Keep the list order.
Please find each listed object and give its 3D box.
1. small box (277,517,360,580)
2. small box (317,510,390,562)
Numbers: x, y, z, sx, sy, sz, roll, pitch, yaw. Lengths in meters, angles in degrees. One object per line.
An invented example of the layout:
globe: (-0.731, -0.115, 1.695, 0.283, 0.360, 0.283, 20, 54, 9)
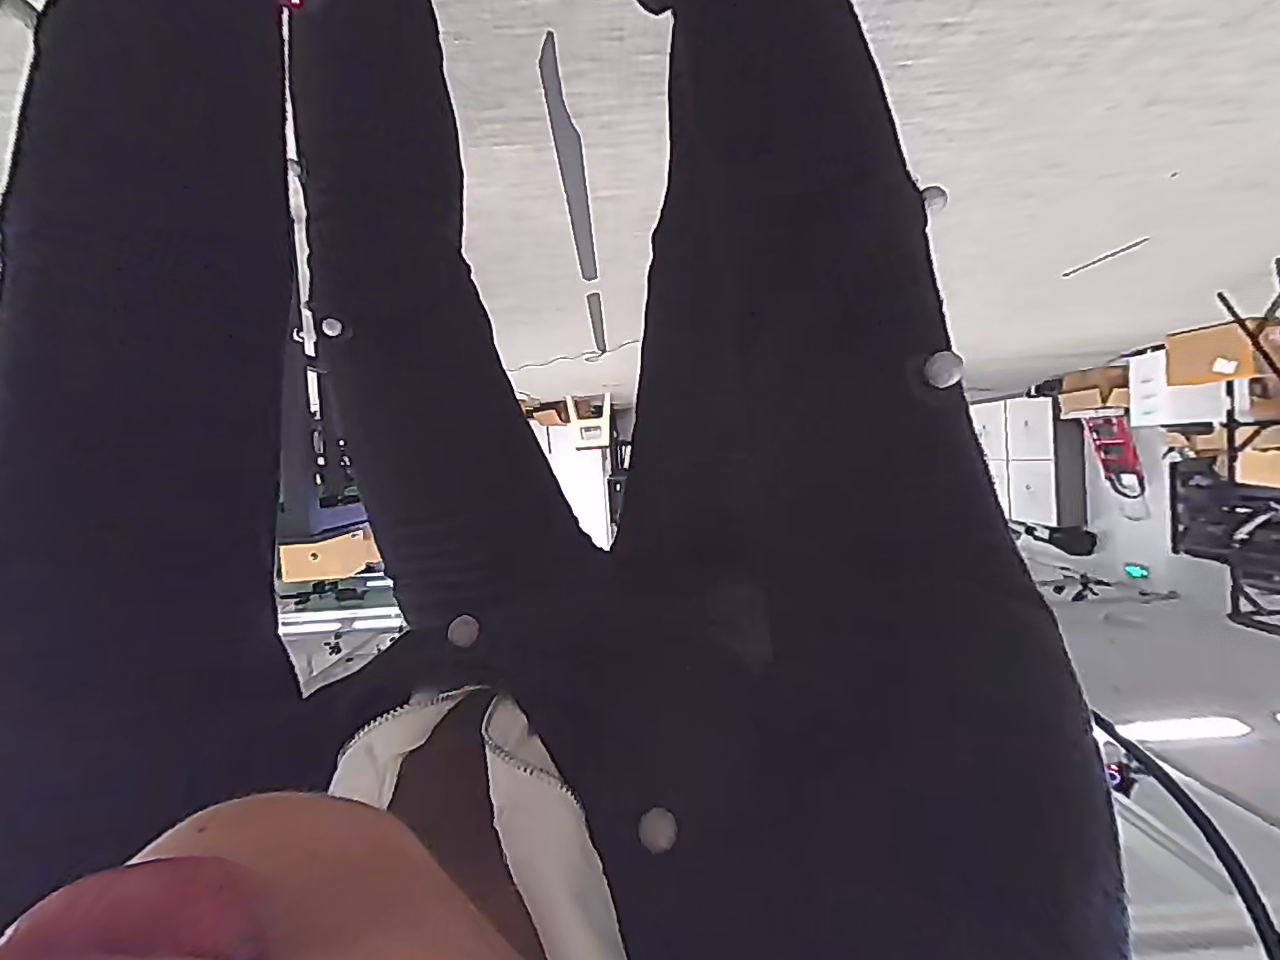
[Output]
small box: (-0.995, 0.206, 1.675, 0.179, 0.176, 0.168, -5, -178, -6)
small box: (-1.018, 0.197, 1.924, 0.179, 0.176, 0.168, -3, -179, -1)
